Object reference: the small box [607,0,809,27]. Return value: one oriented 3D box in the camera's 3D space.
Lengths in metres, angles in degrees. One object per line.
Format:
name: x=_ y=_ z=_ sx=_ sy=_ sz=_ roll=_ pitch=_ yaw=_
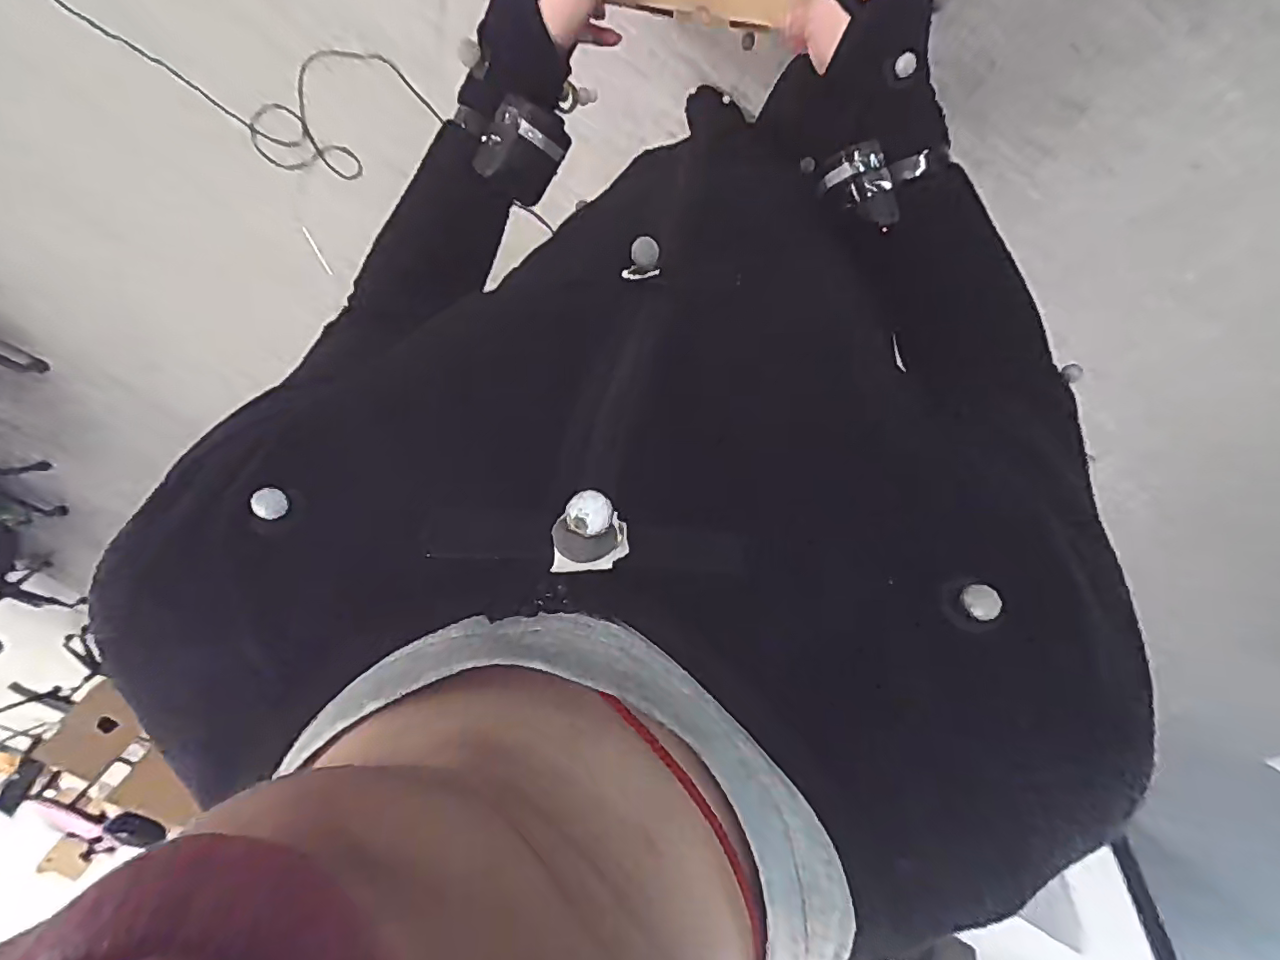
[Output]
small box: x=0.068 y=-0.466 z=0.407 sx=0.168 sy=0.176 sz=0.179 roll=12 pitch=131 yaw=4
